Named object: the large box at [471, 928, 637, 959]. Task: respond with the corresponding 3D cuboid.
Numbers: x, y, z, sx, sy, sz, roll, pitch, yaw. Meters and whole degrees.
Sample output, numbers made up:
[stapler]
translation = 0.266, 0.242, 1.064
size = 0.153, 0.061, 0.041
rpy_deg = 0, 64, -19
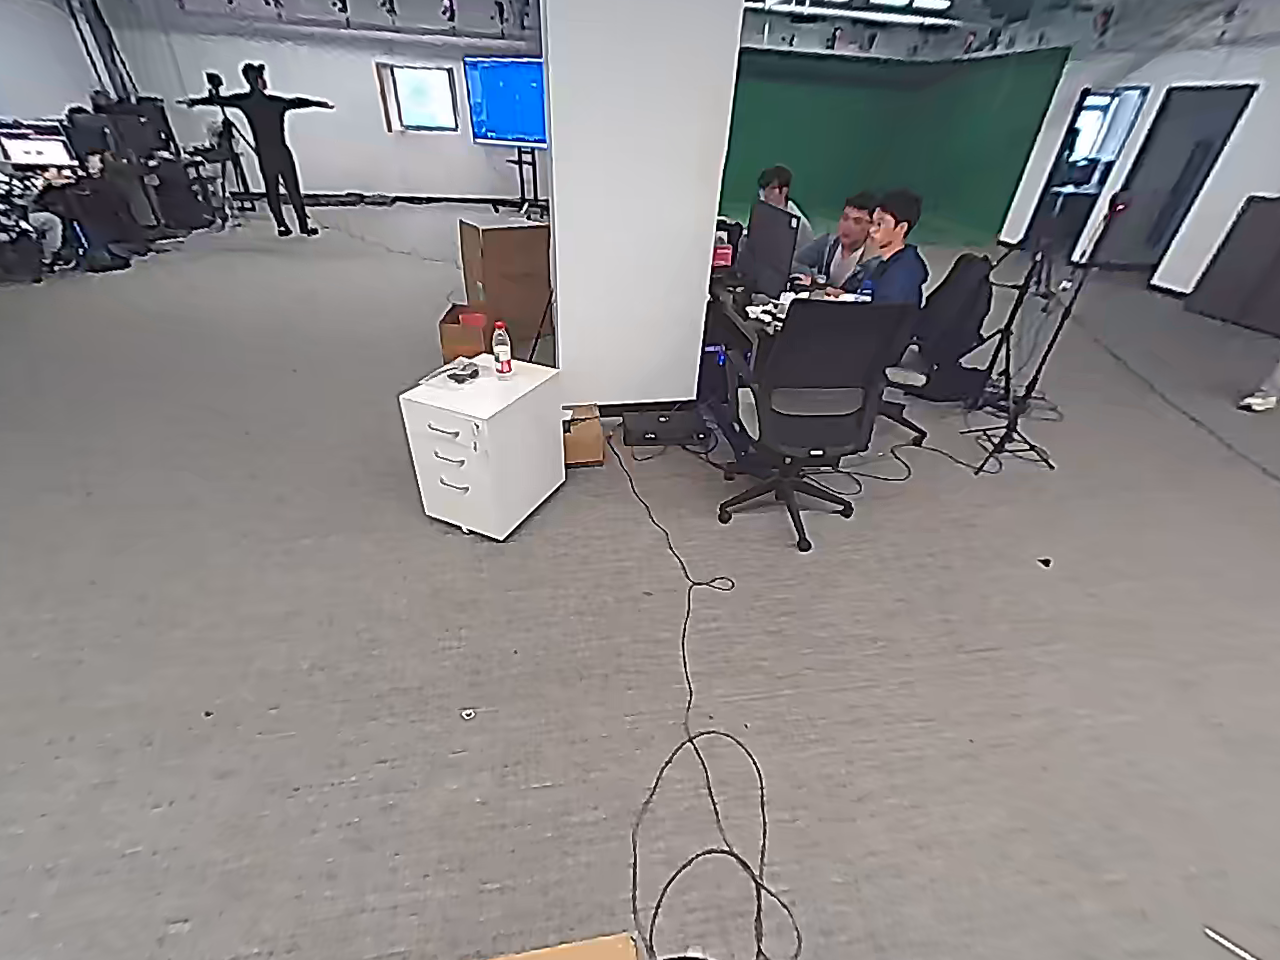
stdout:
[large box]
translation = -0.189, 1.034, 0.902
size = 0.408, 0.320, 0.320
rpy_deg = -4, 34, -9
